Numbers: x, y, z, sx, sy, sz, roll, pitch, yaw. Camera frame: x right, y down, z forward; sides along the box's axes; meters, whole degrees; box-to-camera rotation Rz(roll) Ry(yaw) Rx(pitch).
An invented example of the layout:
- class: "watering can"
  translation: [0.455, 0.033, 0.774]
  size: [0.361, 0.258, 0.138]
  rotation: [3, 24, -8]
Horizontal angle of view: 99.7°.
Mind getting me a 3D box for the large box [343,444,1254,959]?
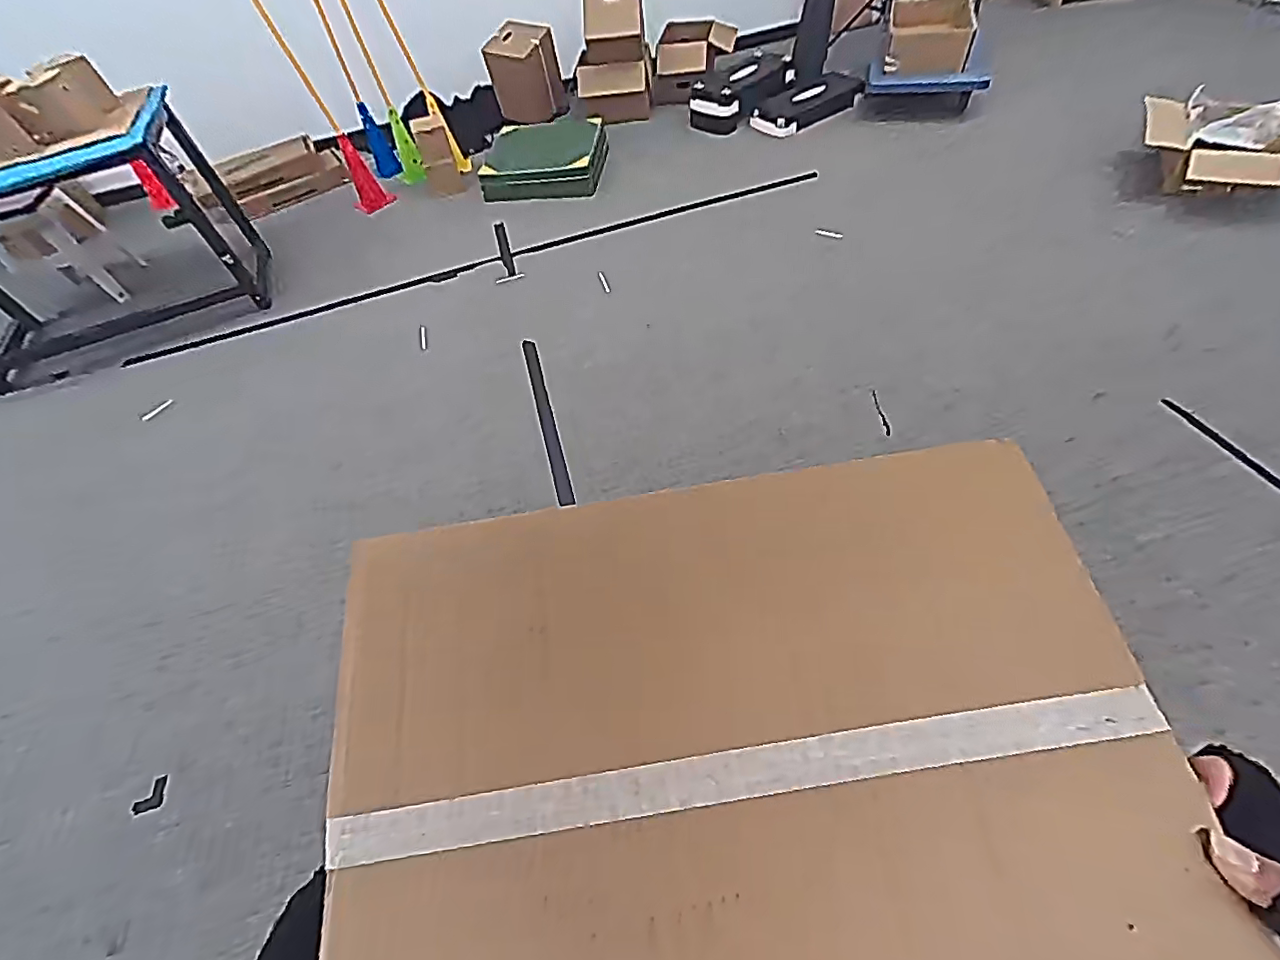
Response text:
- class: "large box"
  translation: [0.059, 0.210, 0.409]
  size: [0.408, 0.320, 0.320]
  rotation: [-9, 65, 0]
